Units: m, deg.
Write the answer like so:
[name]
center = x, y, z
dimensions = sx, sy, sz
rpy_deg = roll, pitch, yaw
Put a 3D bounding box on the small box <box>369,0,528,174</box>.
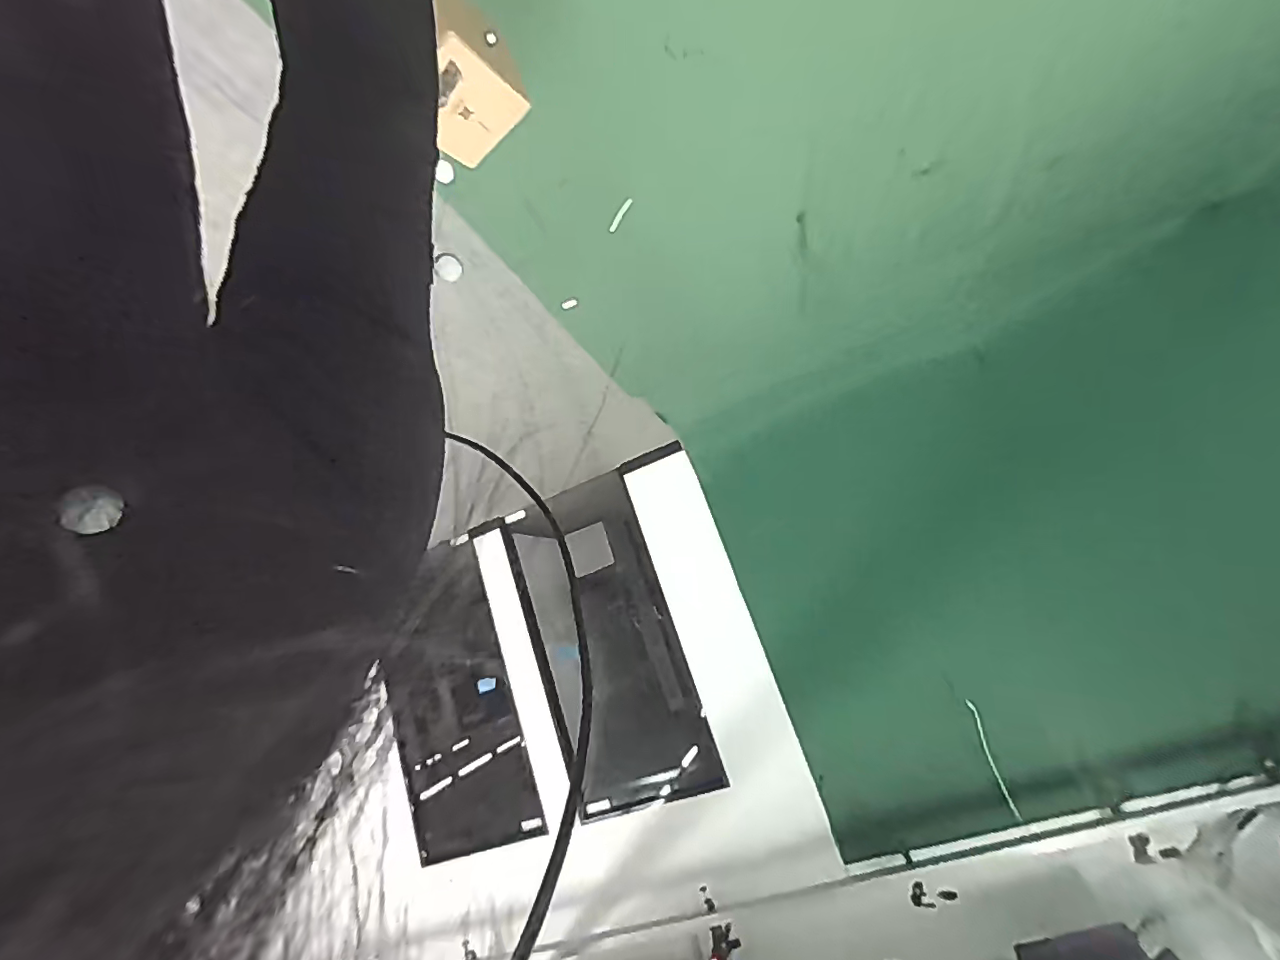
[small box]
center = -0.326, -0.679, 0.916
dimensions = 0.168, 0.176, 0.179
rpy_deg = -27, 165, 27
